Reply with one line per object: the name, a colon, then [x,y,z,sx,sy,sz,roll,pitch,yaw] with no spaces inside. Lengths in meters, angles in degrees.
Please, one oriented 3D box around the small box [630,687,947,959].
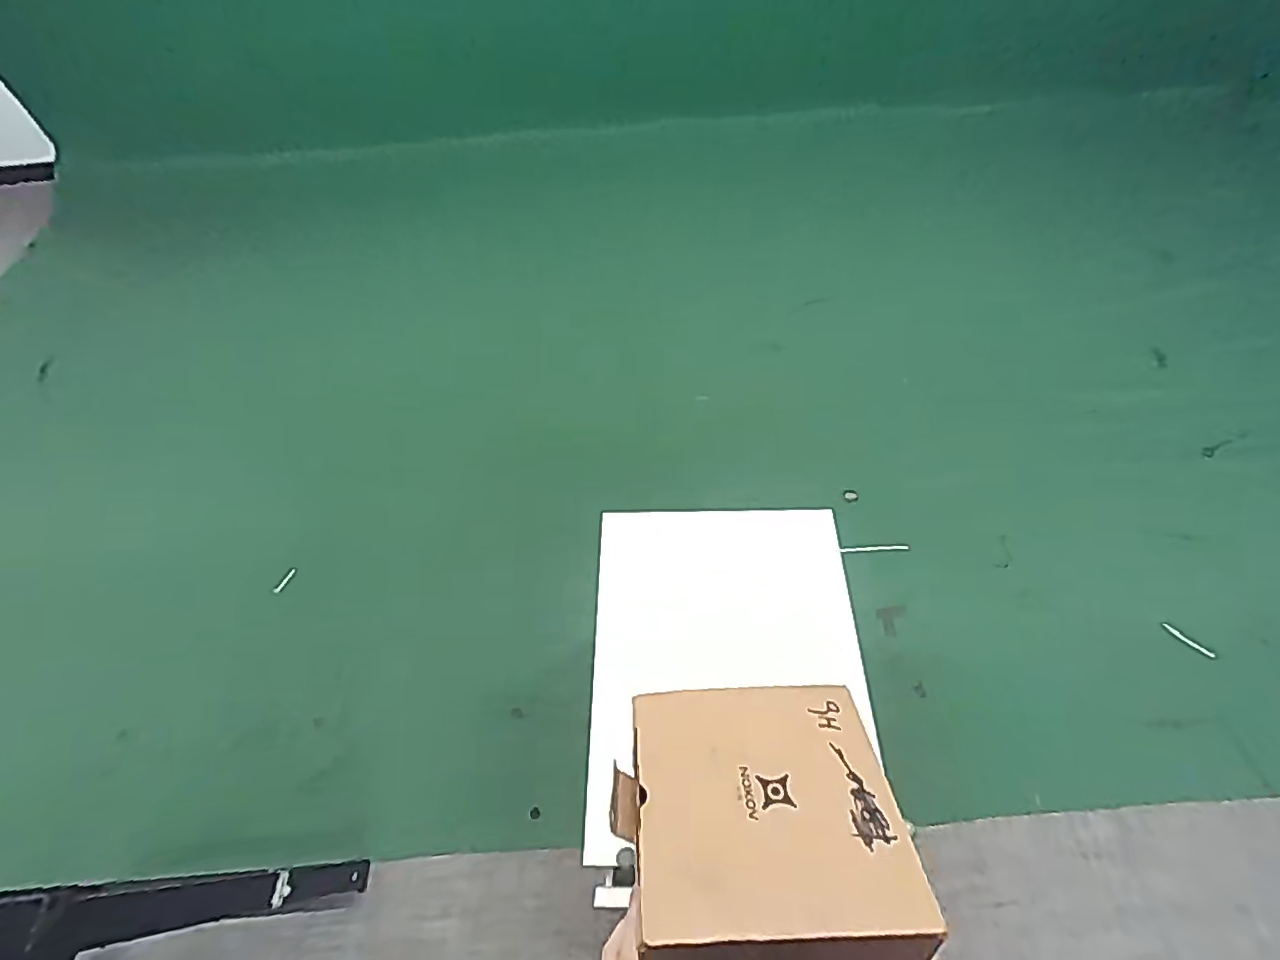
small box: [0.085,0.280,0.401,0.179,0.176,0.168,-3,31,0]
